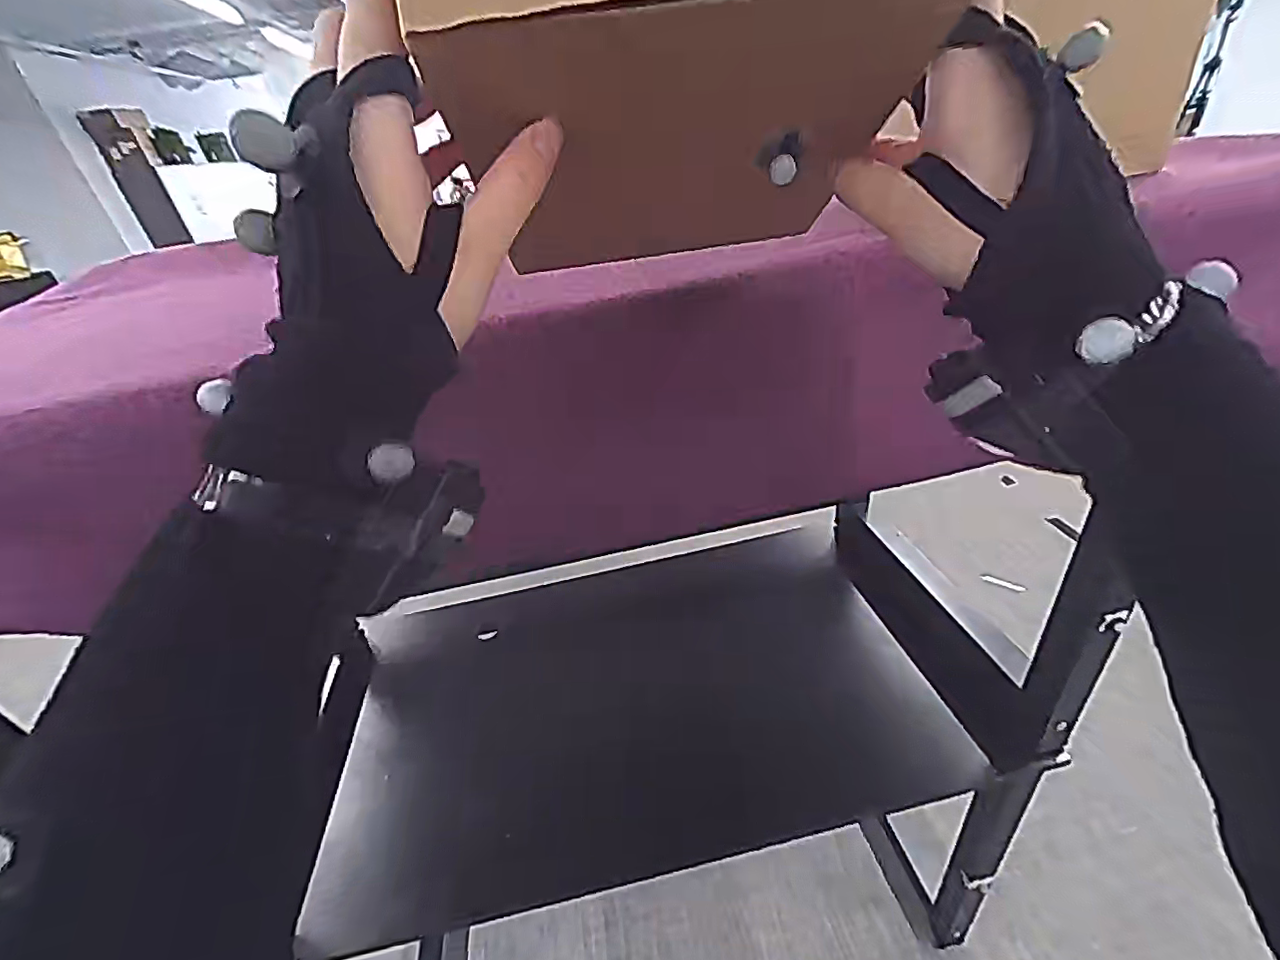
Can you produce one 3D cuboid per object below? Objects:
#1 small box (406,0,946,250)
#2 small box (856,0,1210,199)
[{"bbox_3d":[0.004,-0.225,0.236,0.179,0.168,0.176,-9,-3,-2],"label":"small box"},{"bbox_3d":[0.291,-0.336,0.429,0.179,0.176,0.168,-10,31,0],"label":"small box"}]
